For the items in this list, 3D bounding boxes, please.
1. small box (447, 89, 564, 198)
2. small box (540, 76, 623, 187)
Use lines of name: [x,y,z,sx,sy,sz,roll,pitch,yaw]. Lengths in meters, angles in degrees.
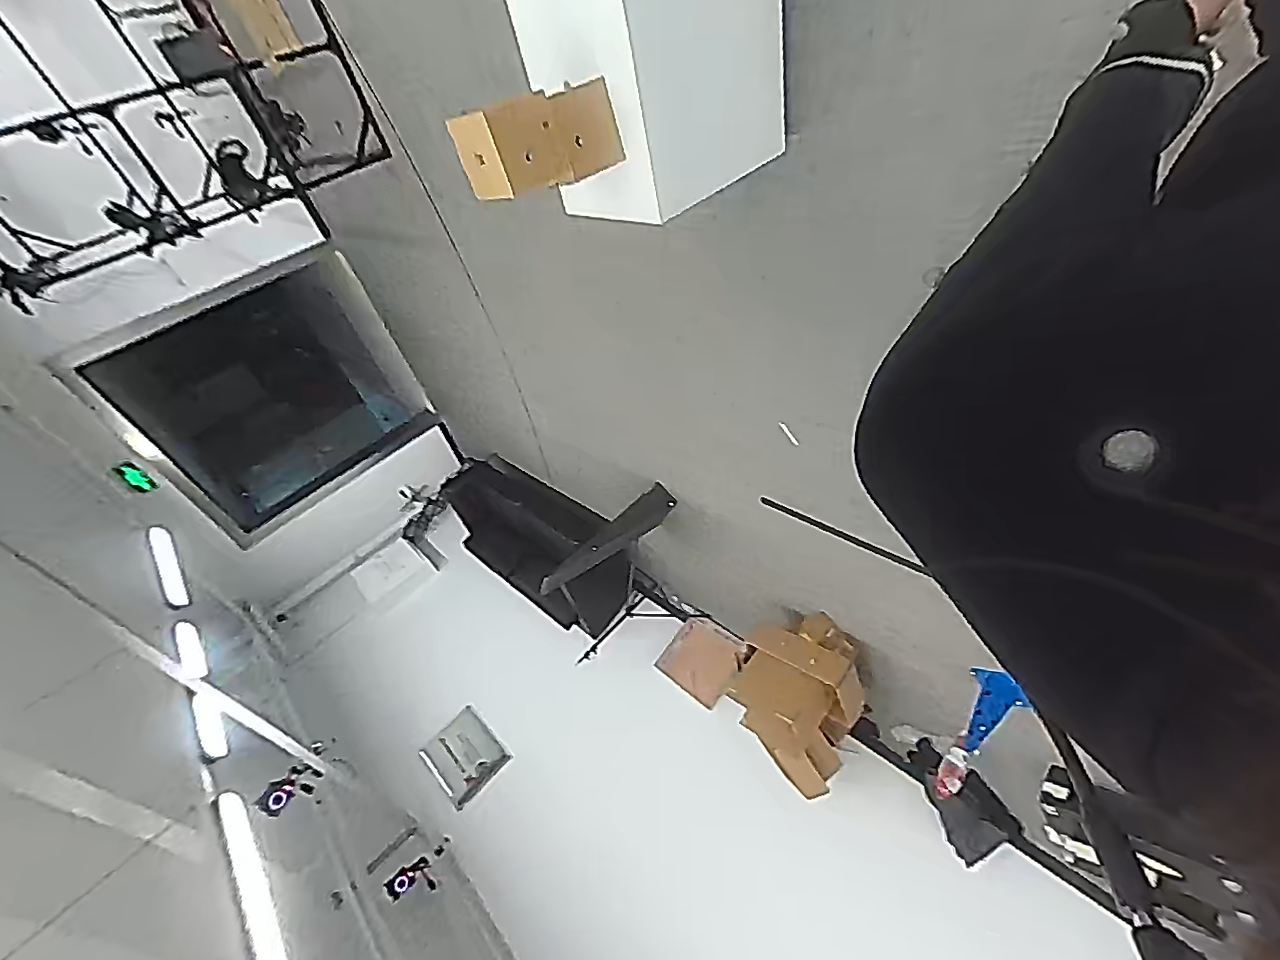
small box: [-0.292,-0.756,1.220,0.179,0.176,0.168,26,146,42]
small box: [-0.165,-0.829,1.294,0.168,0.176,0.179,23,143,44]
